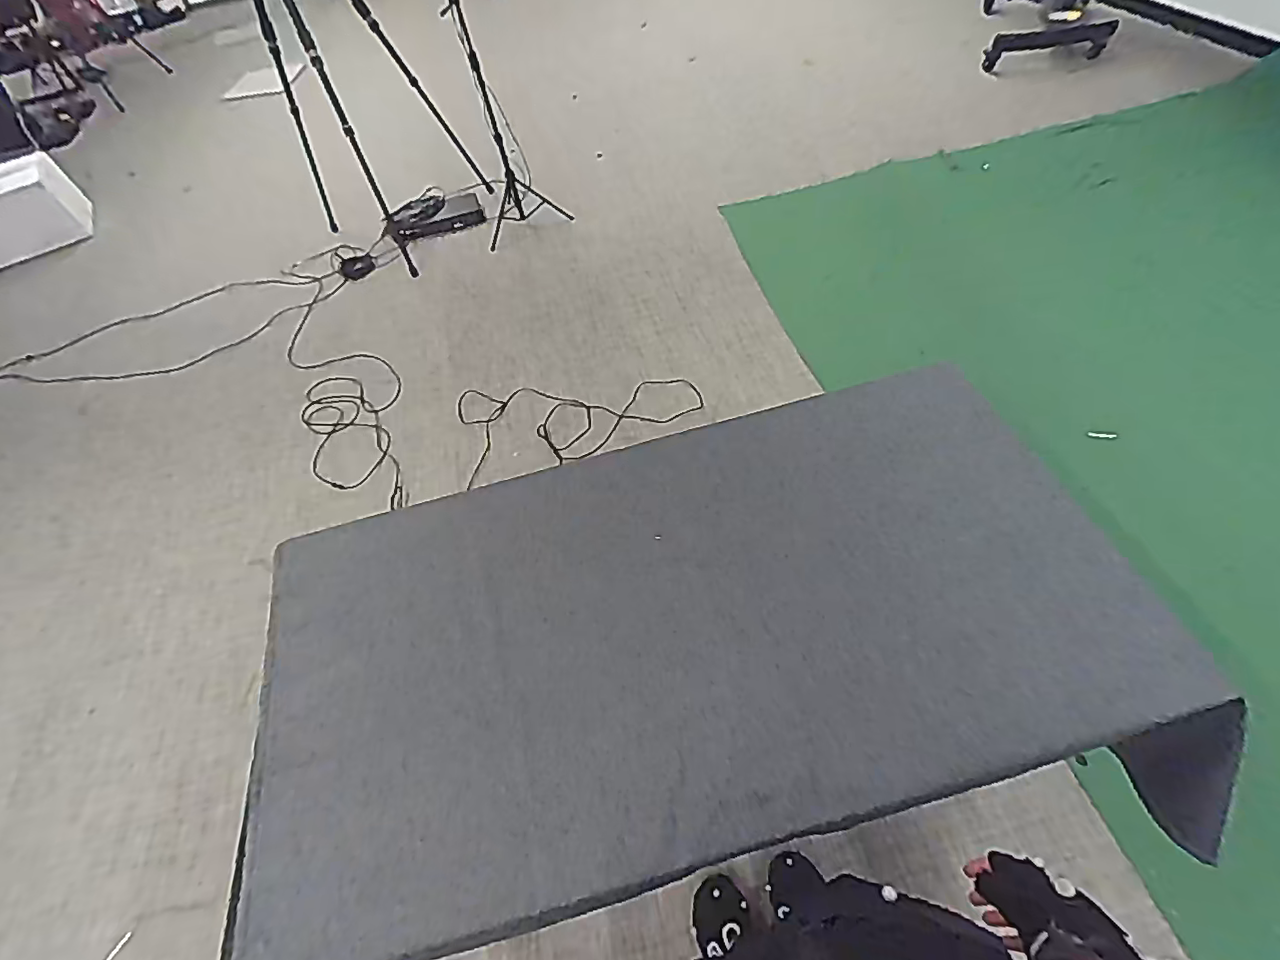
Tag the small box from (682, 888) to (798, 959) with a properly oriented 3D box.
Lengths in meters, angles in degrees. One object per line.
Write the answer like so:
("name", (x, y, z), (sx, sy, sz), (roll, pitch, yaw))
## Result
("small box", (0.187, 0.930, 1.044), (0.179, 0.176, 0.168), (7, 67, 33))
